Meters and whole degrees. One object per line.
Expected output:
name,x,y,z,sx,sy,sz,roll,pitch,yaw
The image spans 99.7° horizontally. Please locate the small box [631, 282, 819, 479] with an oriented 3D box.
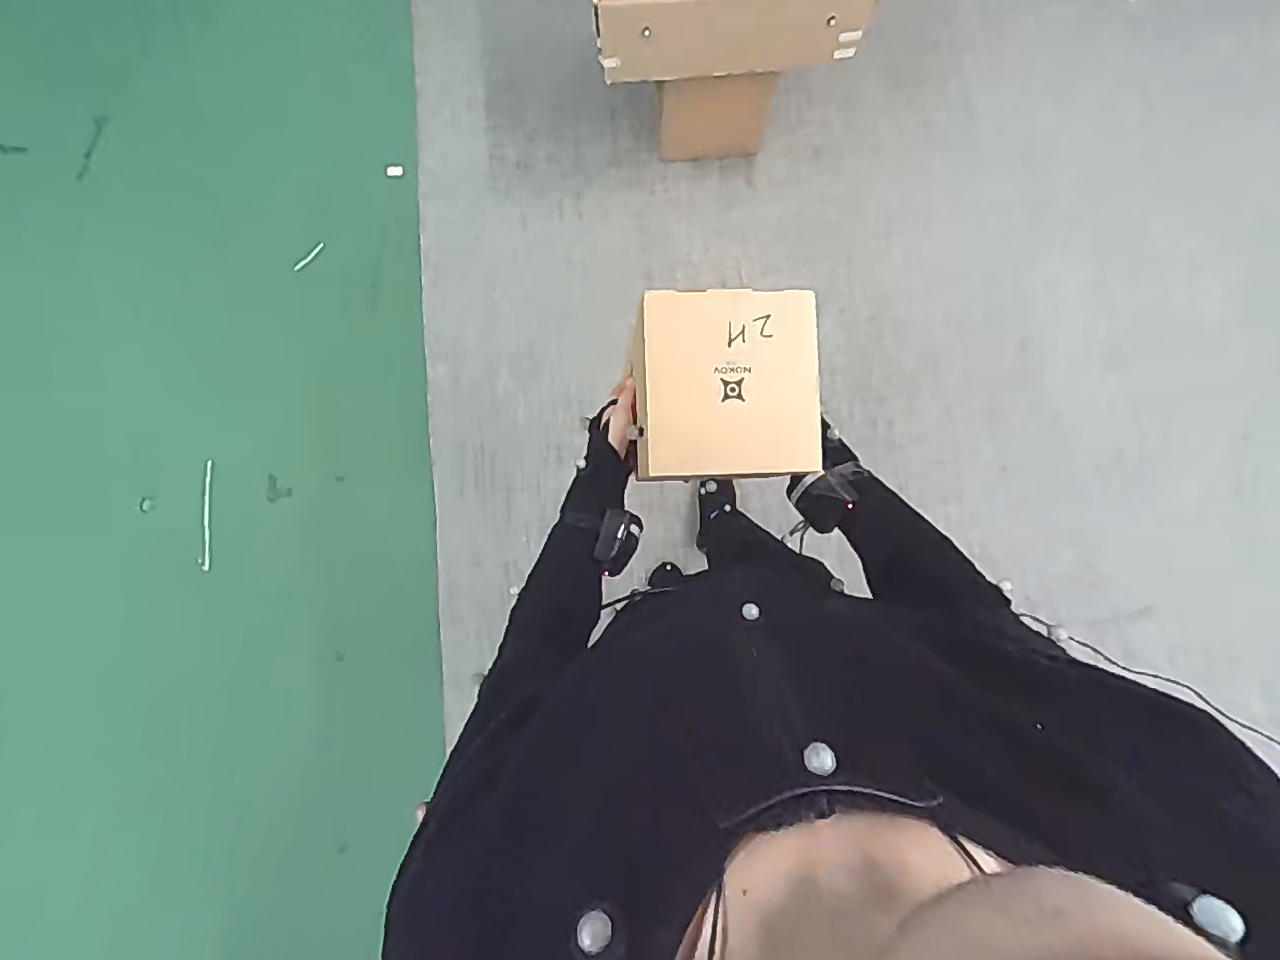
small box,0.077,-0.091,0.571,0.168,0.176,0.179,-1,87,-4
